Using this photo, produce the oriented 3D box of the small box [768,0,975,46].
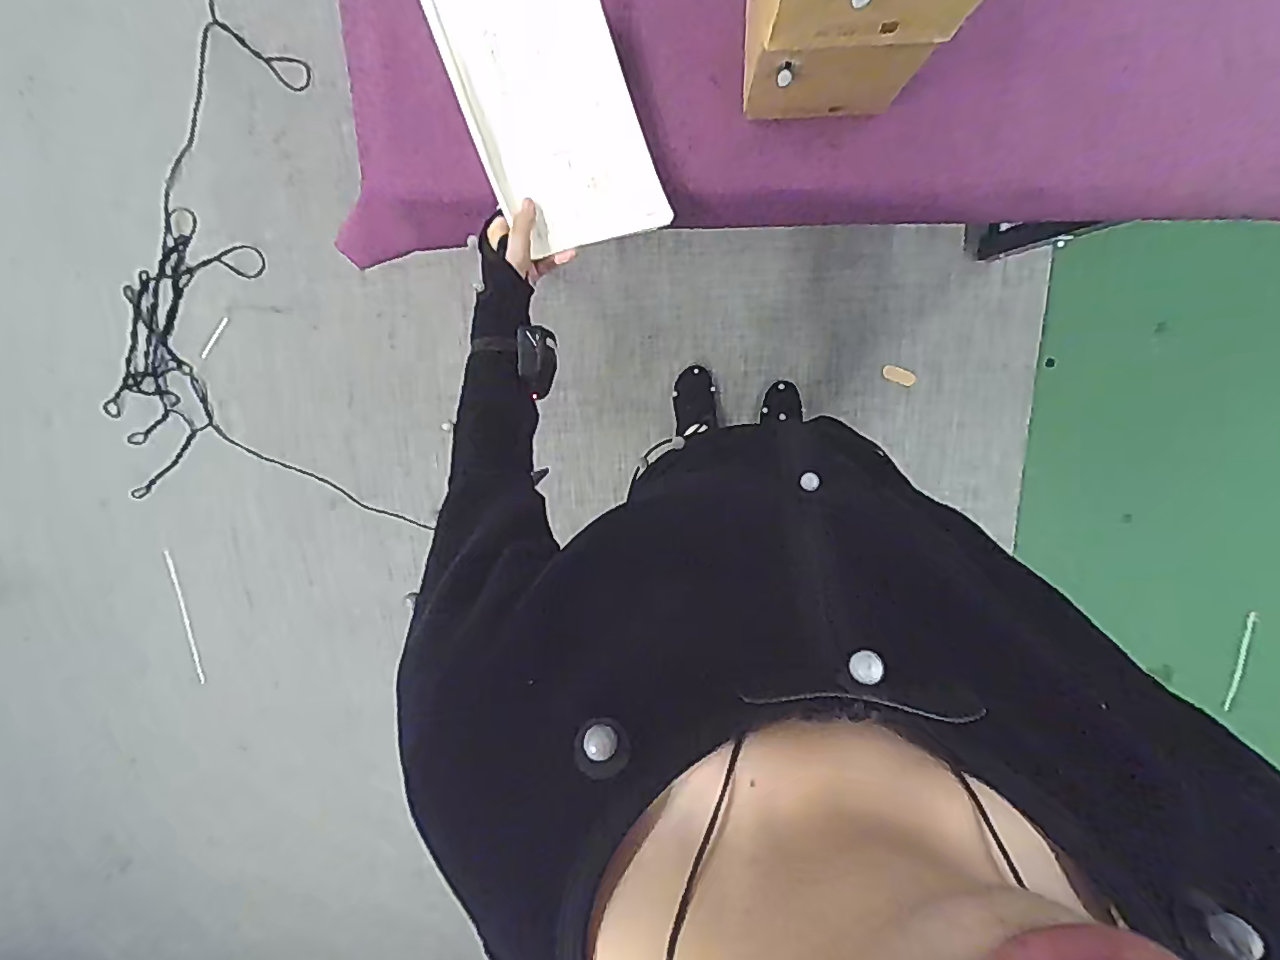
[{"bbox_3d":[0.192,-0.461,0.402,0.168,0.176,0.179,1,102,4],"label":"small box"}]
